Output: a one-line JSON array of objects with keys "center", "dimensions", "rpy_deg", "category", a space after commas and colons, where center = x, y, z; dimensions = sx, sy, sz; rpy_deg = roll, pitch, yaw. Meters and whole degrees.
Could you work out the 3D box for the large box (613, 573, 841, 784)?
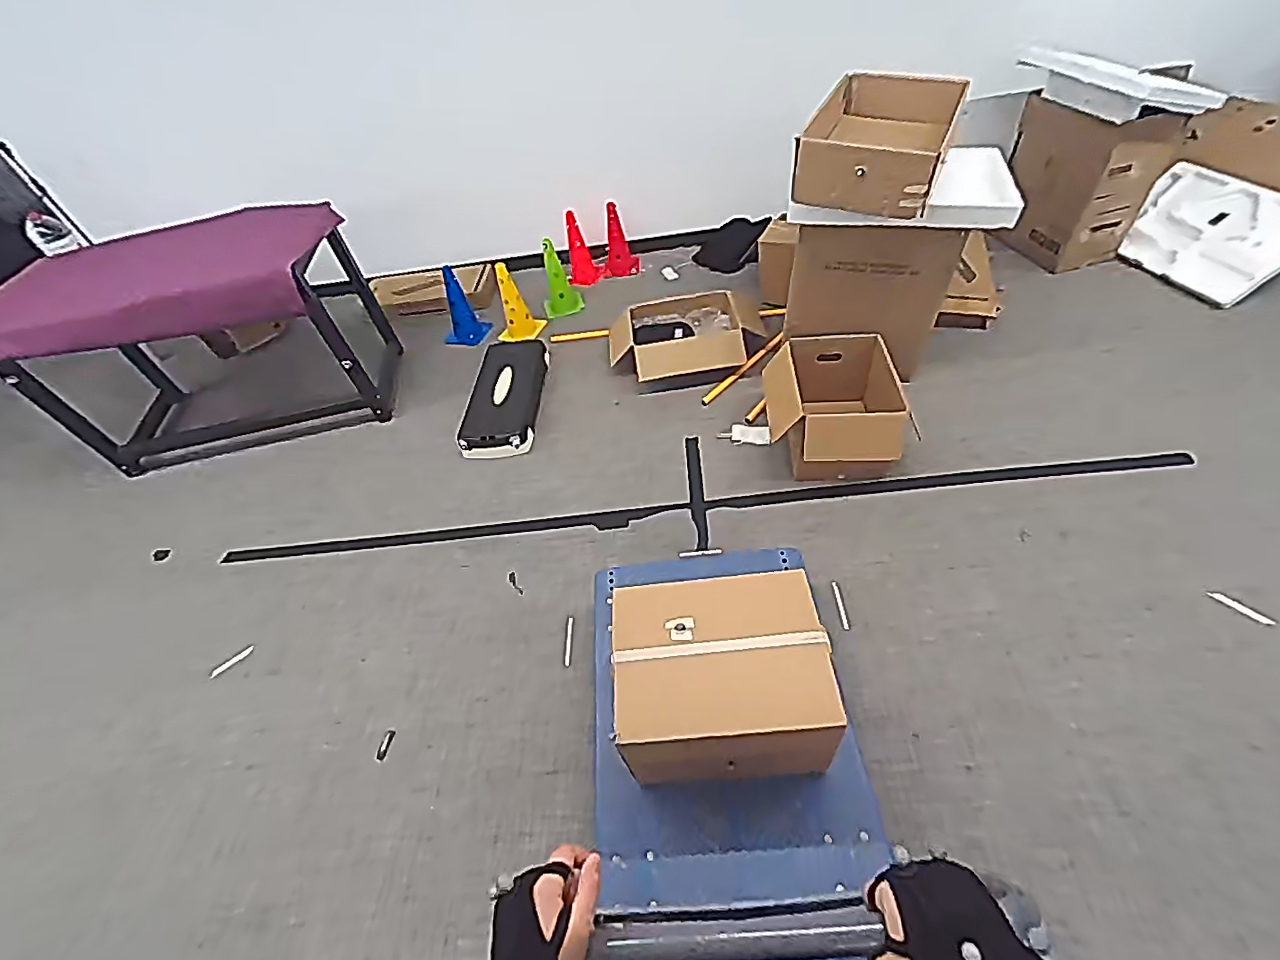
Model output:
[{"center": [0.171, 0.434, 1.161], "dimensions": [0.408, 0.320, 0.320], "rpy_deg": [-8, 47, 5], "category": "large box"}]
